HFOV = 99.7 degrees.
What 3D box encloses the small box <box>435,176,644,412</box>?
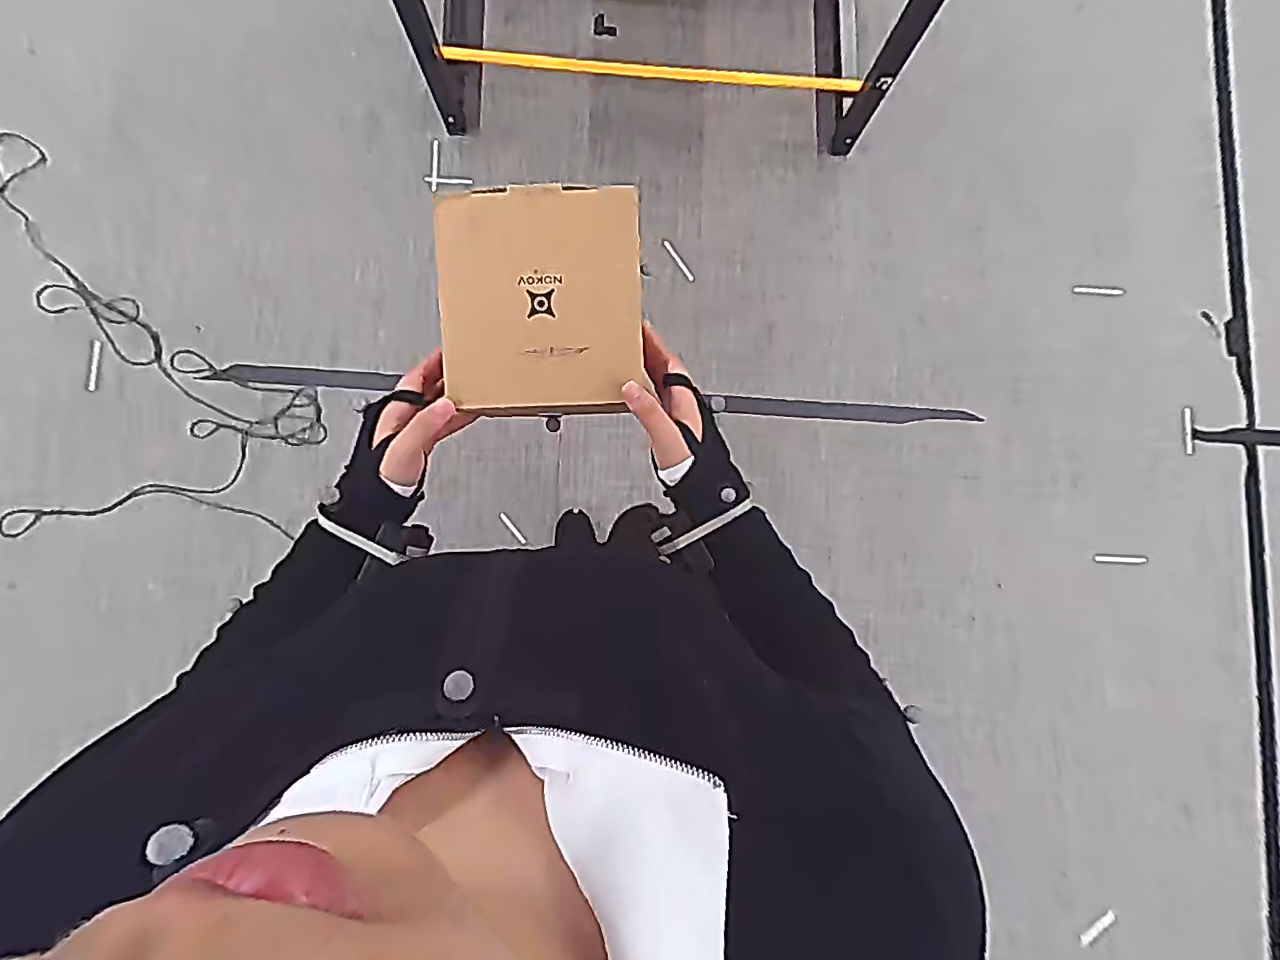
[{"bbox_3d":[-0.083,-0.161,0.519,0.168,0.176,0.179,-2,94,-1],"label":"small box"}]
